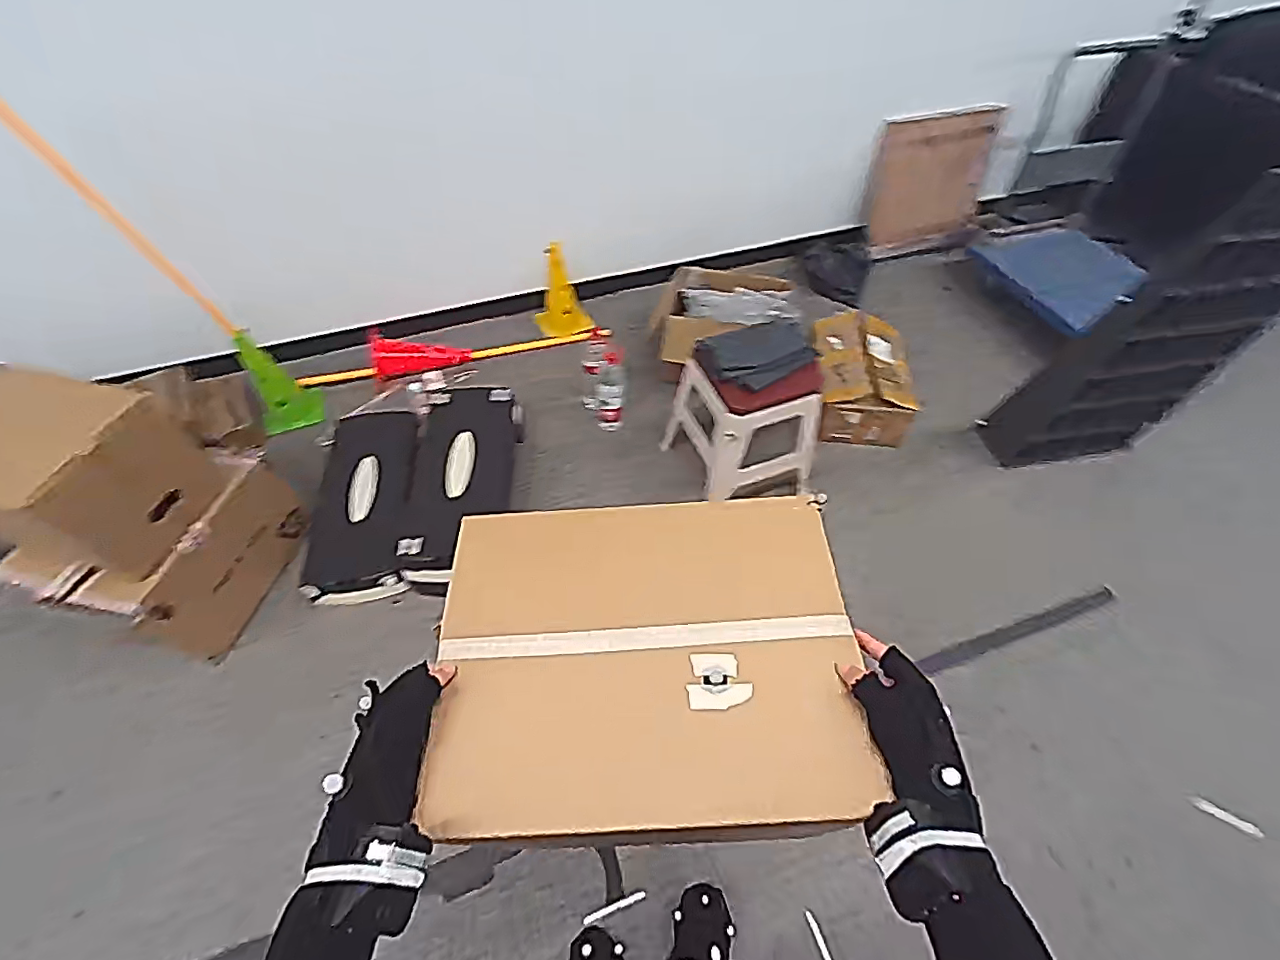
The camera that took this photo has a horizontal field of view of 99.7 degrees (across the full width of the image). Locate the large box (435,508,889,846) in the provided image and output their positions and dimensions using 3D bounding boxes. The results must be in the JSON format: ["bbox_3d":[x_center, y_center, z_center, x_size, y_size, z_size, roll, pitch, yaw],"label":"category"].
[{"bbox_3d":[0.018,0.254,0.672,0.408,0.320,0.320,-3,55,1],"label":"large box"}]
